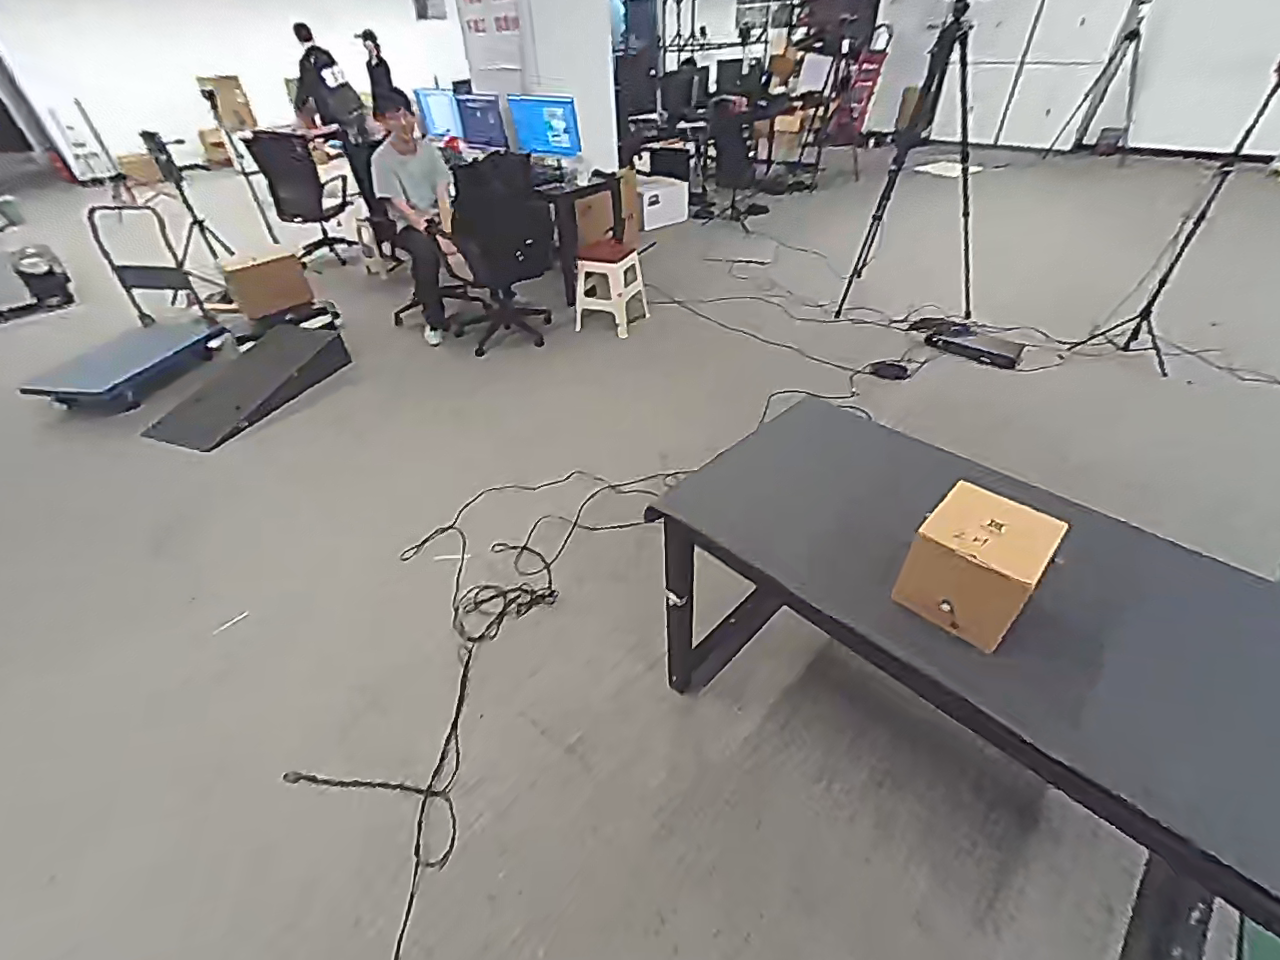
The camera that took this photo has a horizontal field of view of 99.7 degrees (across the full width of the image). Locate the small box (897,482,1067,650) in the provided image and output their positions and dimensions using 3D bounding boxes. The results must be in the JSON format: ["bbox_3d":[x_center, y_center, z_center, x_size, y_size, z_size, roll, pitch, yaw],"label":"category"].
[{"bbox_3d":[0.551,0.138,0.889,0.179,0.176,0.168,-33,47,-32],"label":"small box"}]
